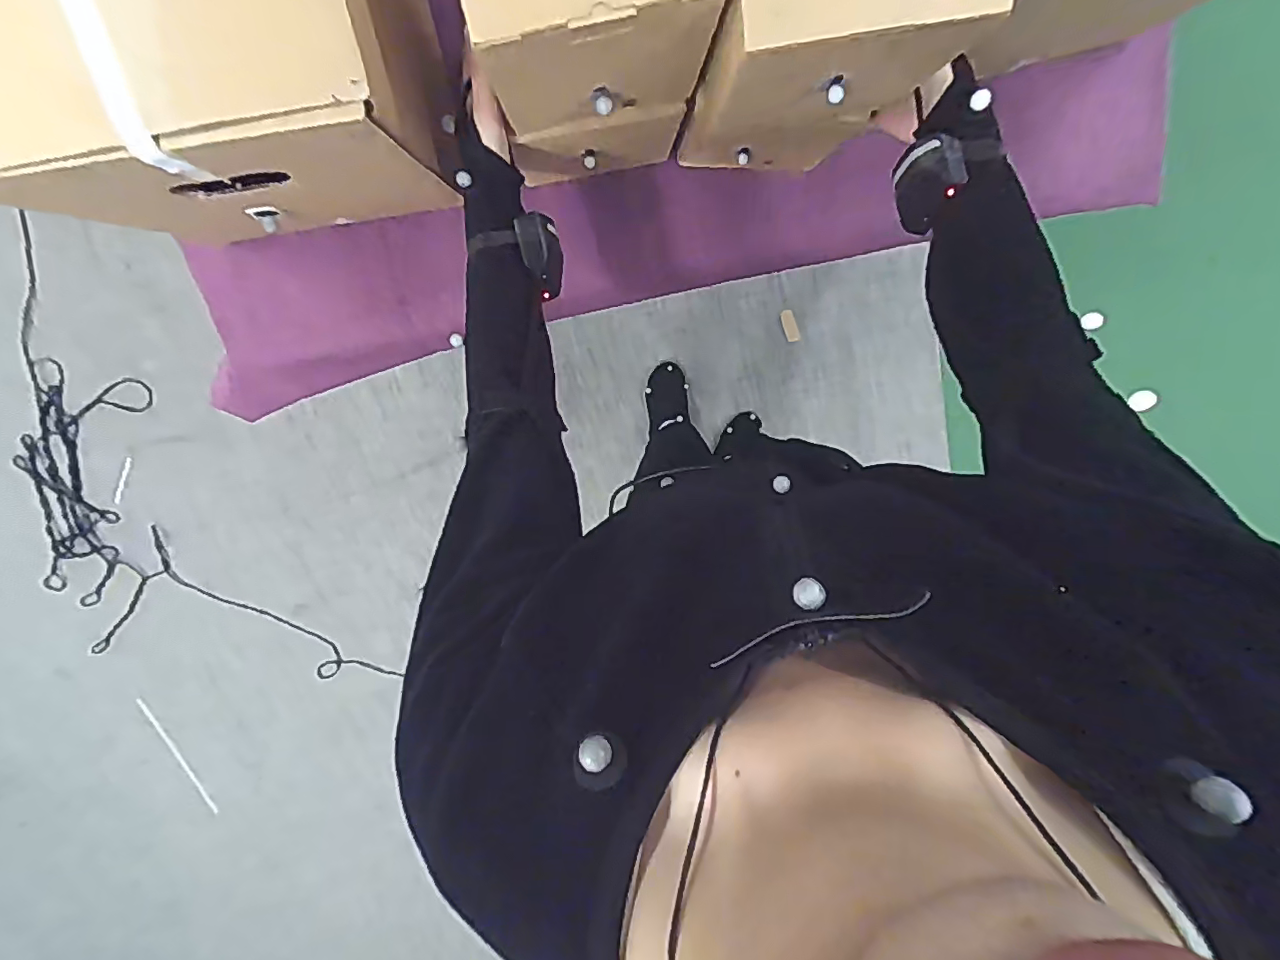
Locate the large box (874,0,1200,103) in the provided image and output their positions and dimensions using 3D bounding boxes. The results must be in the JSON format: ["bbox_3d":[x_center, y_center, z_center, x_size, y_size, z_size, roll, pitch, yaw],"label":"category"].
[{"bbox_3d":[0.396,-0.627,0.448,0.320,0.320,0.408,-14,107,3],"label":"large box"}]

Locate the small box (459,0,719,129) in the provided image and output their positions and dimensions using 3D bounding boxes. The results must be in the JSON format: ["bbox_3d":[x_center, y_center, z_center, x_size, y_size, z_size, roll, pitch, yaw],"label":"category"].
[{"bbox_3d":[-0.048,-0.391,0.387,0.168,0.176,0.179,-12,106,1],"label":"small box"}]
